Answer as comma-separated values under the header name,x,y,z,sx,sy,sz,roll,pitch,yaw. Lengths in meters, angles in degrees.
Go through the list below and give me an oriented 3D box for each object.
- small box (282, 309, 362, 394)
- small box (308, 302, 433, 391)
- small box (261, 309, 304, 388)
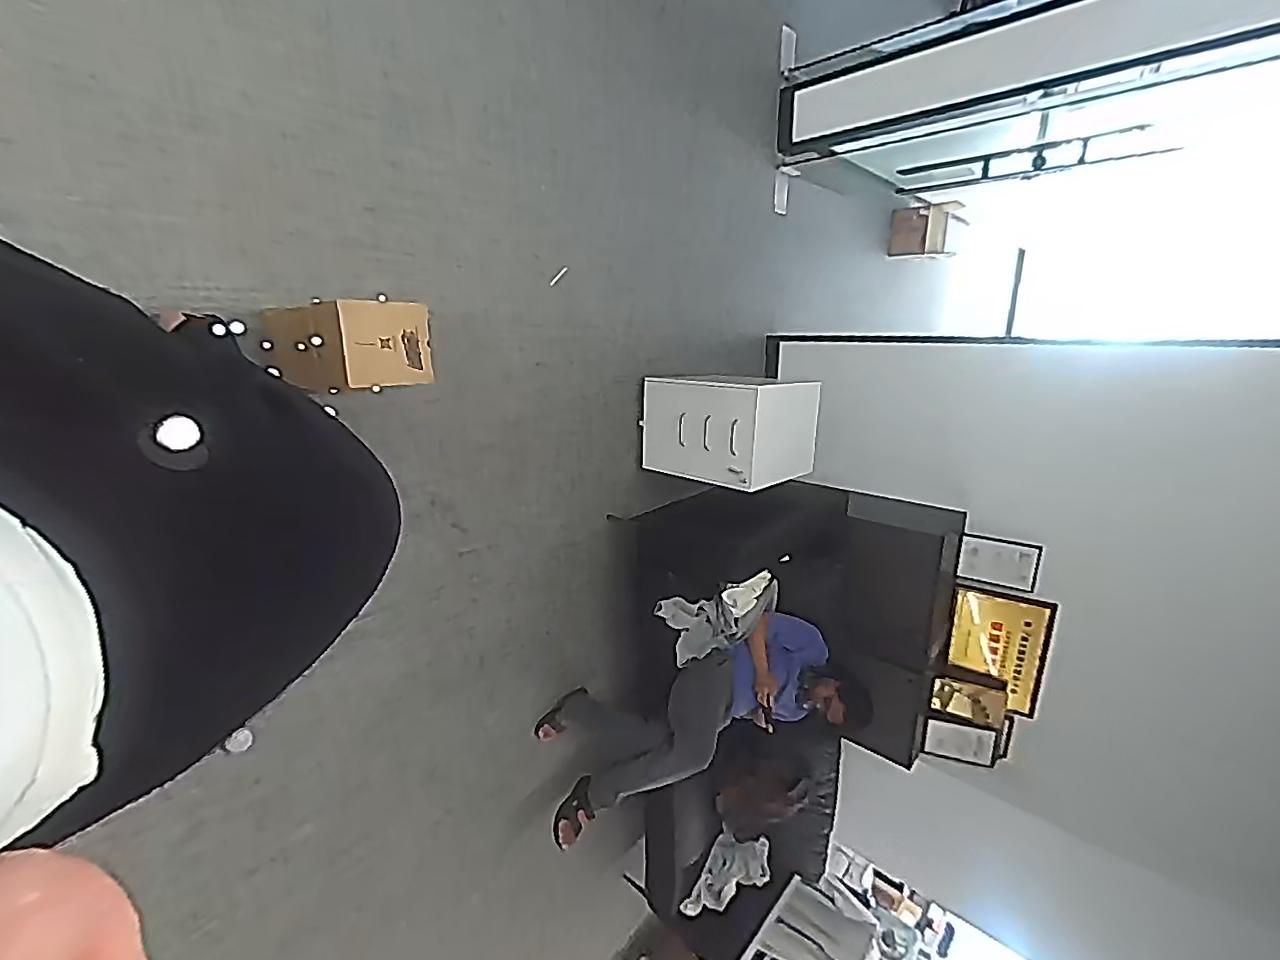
name,x,y,z,sx,sy,sz,roll,pitch,yaw
small box,-0.688,-0.299,1.233,0.168,0.176,0.179,-18,116,-45
small box,-0.560,-0.279,1.128,0.179,0.176,0.168,-15,111,-45
small box,-0.809,-0.328,1.336,0.168,0.176,0.179,-16,113,-47
